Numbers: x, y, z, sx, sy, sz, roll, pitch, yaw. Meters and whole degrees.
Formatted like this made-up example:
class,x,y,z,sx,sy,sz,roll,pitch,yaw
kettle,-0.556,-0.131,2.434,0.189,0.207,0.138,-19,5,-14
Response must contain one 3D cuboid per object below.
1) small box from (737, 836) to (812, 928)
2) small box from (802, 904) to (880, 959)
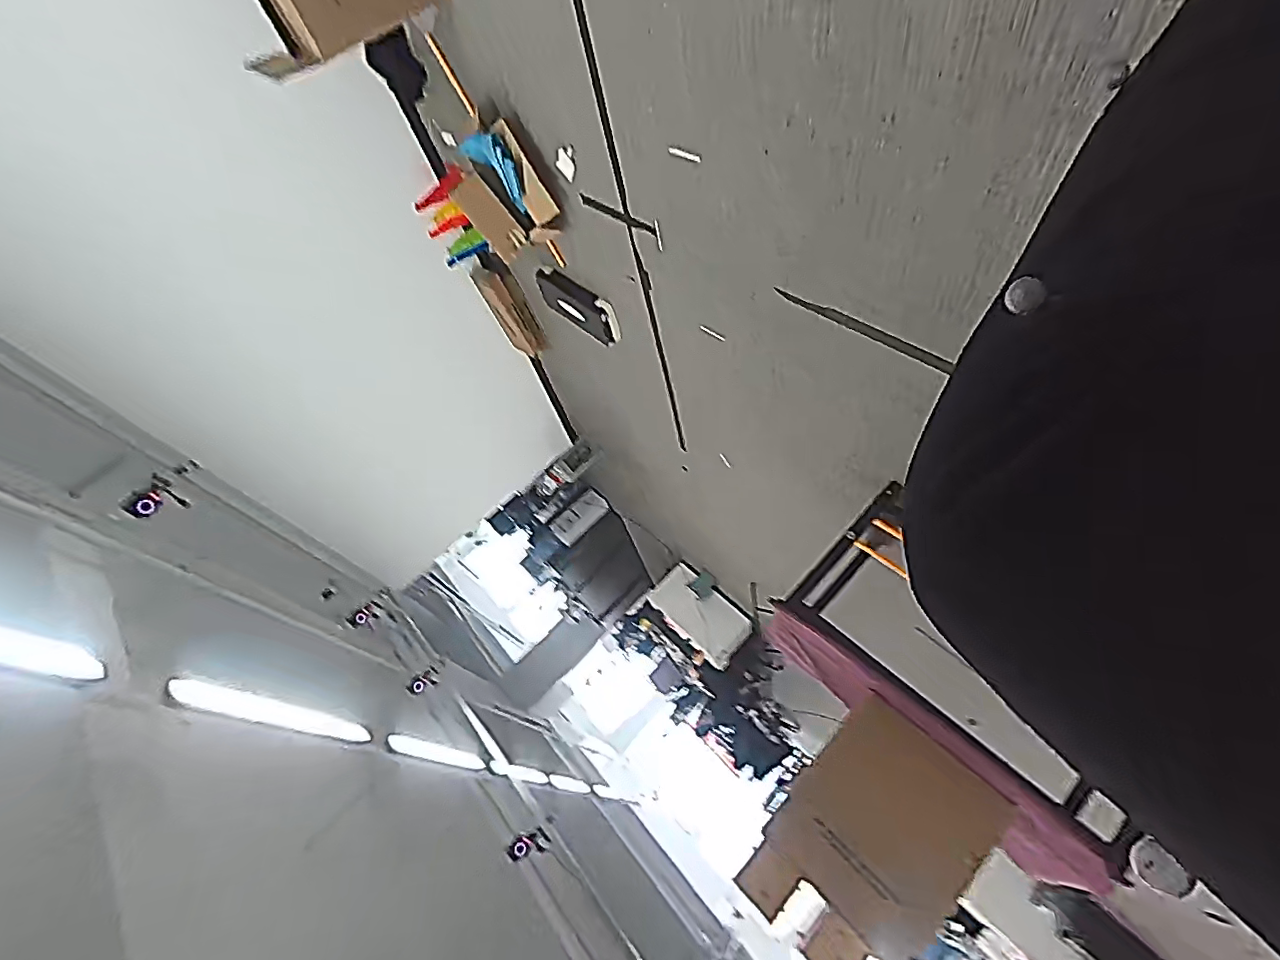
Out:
class,x,y,z,sx,sy,sz,roll,pitch,yaw
small box,0.444,1.308,1.770,0.179,0.176,0.168,36,162,35
small box,0.654,1.533,1.765,0.168,0.176,0.179,40,164,30
